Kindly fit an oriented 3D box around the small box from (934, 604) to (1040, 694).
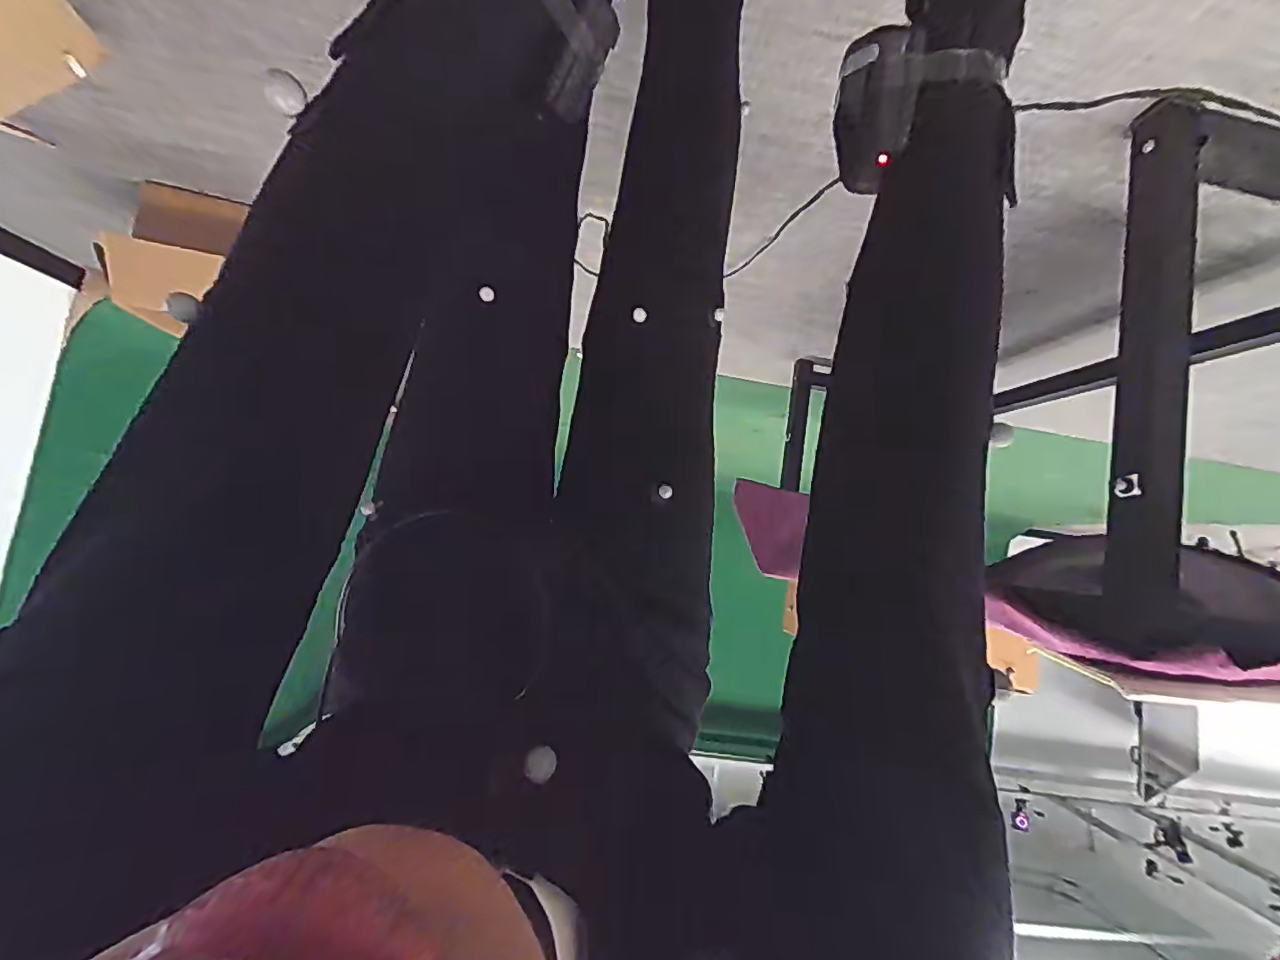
[{"bbox_3d":[0.823,0.401,1.309,0.179,0.176,0.168,9,174,-6],"label":"small box"}]
